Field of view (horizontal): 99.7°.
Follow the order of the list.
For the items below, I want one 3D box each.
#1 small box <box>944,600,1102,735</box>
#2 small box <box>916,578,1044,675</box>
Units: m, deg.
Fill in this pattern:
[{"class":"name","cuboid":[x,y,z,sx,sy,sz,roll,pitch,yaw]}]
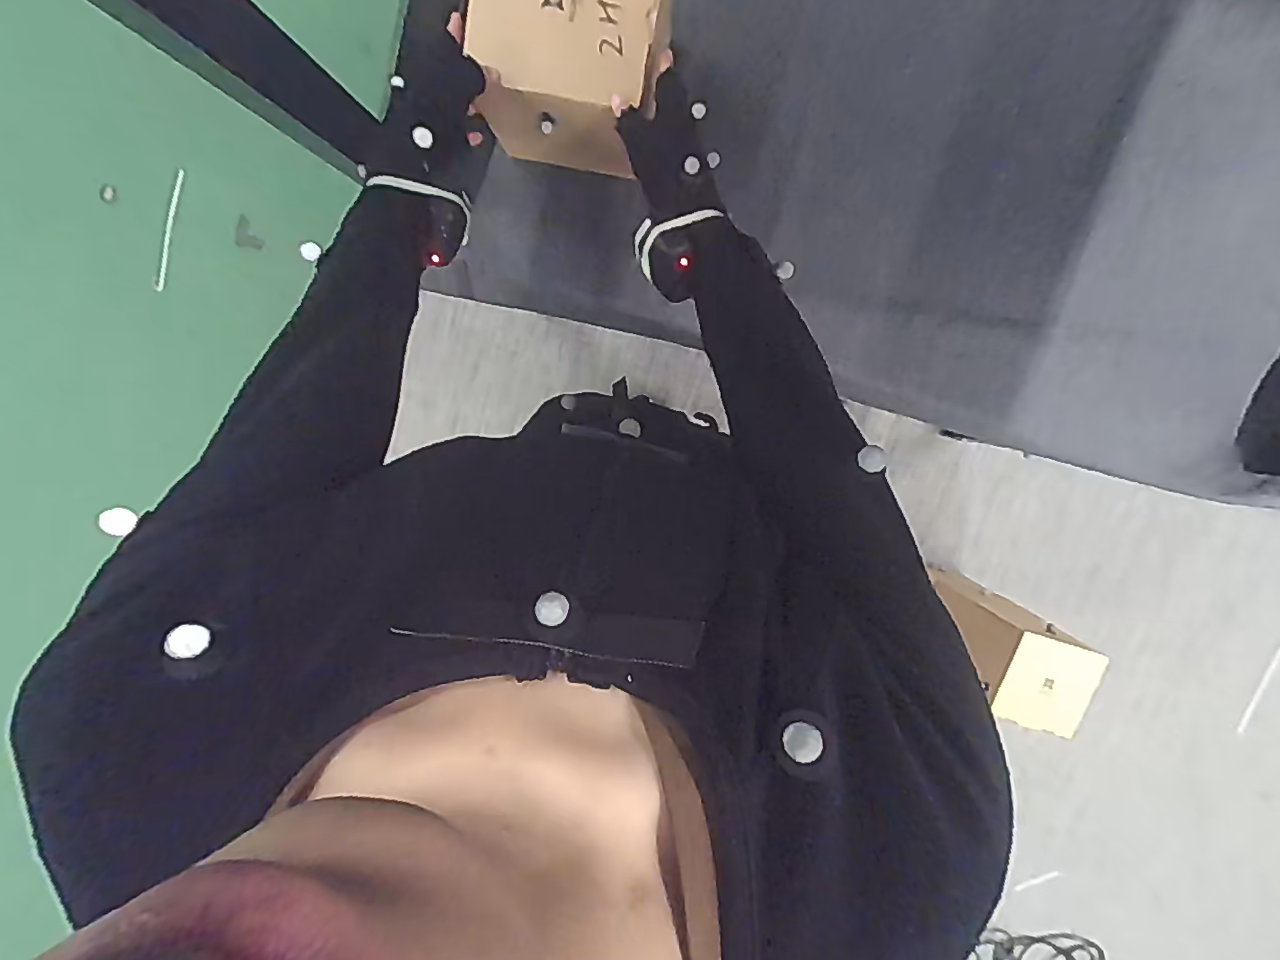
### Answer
[{"class":"small box","cuboid":[0.748,0.364,1.080,0.168,0.176,0.179,17,99,0]},{"class":"small box","cuboid":[0.766,0.348,1.242,0.168,0.176,0.179,15,98,0]}]
